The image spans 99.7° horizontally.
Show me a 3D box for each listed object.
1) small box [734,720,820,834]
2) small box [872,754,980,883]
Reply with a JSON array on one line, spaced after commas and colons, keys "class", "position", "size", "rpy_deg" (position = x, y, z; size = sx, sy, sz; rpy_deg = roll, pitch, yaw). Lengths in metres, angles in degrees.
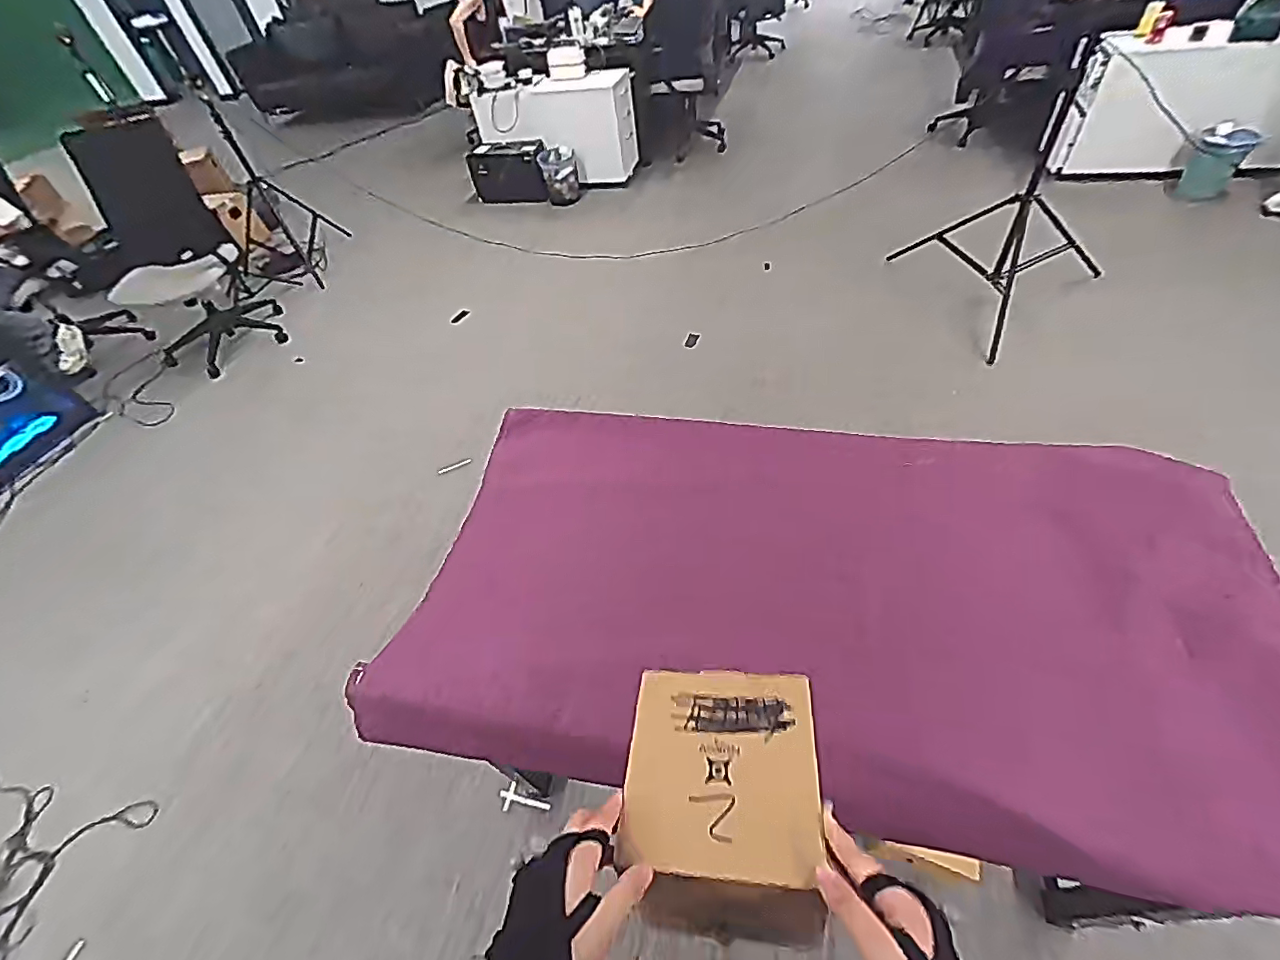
[{"class": "small box", "position": [0.311, 0.683, 1.237], "size": [0.168, 0.176, 0.179], "rpy_deg": [8, 50, 15]}, {"class": "small box", "position": [0.605, 0.726, 1.156], "size": [0.168, 0.176, 0.179], "rpy_deg": [13, 52, 20]}]
